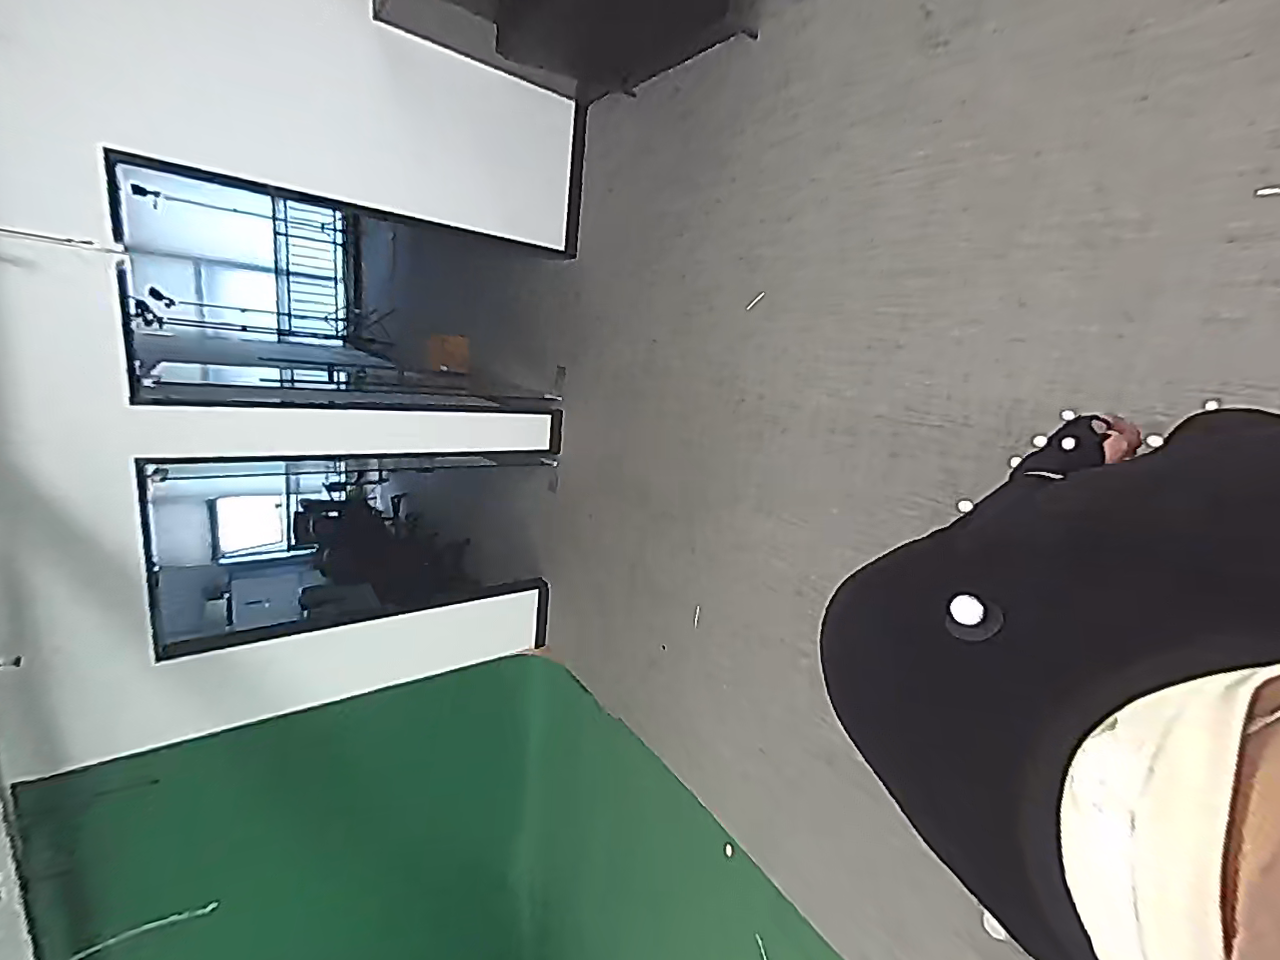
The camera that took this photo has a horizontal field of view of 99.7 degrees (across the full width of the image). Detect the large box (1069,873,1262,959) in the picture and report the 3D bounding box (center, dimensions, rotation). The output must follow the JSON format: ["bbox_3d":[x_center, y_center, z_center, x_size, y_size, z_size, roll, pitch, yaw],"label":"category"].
[{"bbox_3d":[1.162,1.159,1.121,0.408,0.320,0.320,22,110,52],"label":"large box"}]
